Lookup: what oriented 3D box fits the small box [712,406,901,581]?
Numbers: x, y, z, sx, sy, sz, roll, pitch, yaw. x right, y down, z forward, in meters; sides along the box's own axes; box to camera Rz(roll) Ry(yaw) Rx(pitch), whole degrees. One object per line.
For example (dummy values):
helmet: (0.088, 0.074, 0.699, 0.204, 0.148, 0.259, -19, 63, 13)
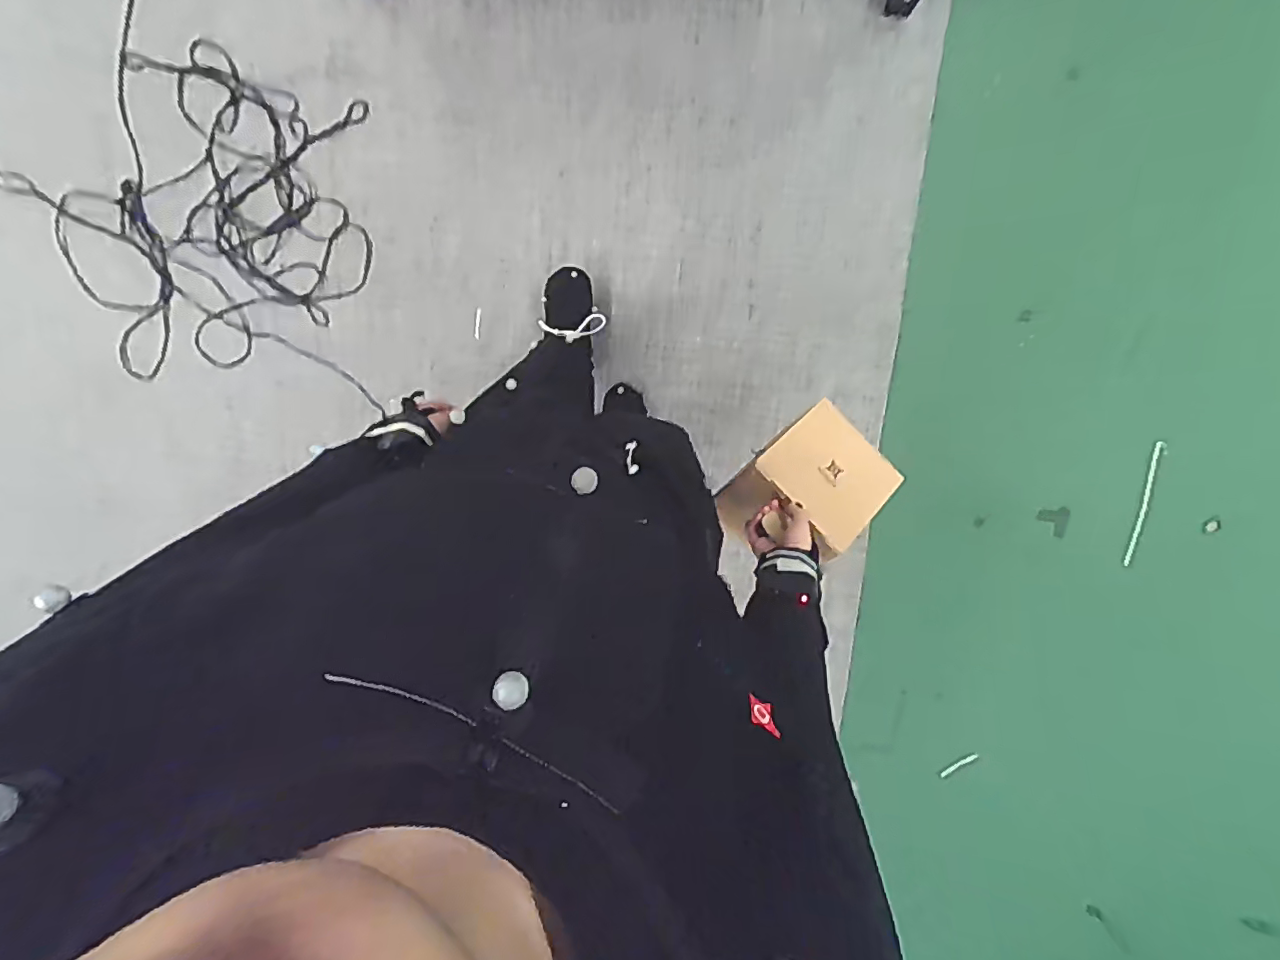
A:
small box: (0.239, 0.026, 0.810, 0.179, 0.176, 0.168, -40, 85, -28)
